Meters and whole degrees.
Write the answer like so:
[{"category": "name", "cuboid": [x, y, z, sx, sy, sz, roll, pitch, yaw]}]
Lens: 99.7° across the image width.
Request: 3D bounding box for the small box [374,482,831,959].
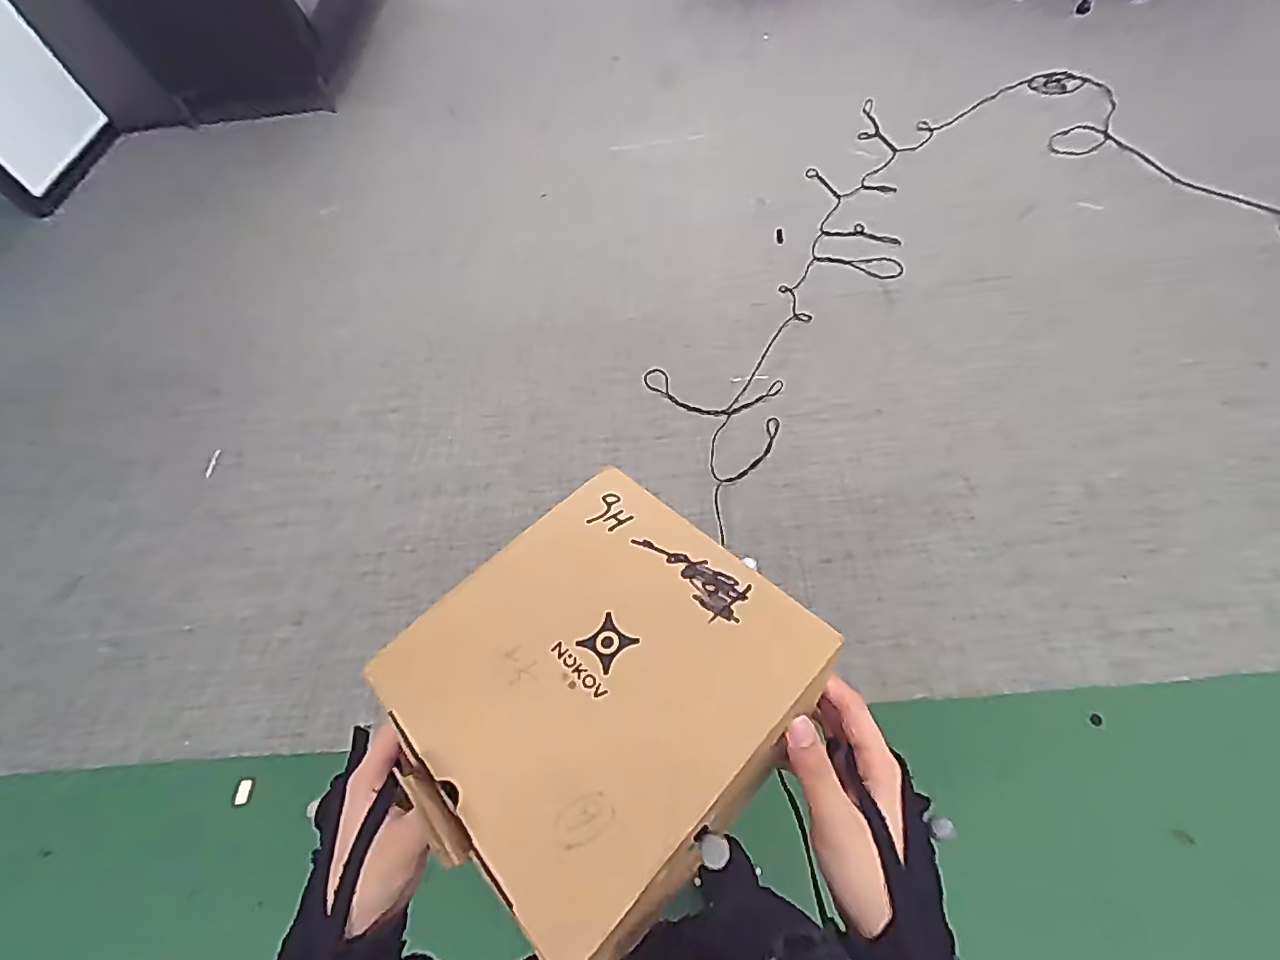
[{"category": "small box", "cuboid": [-0.011, 0.142, 0.329, 0.179, 0.176, 0.168, -41, 57, -21]}]
